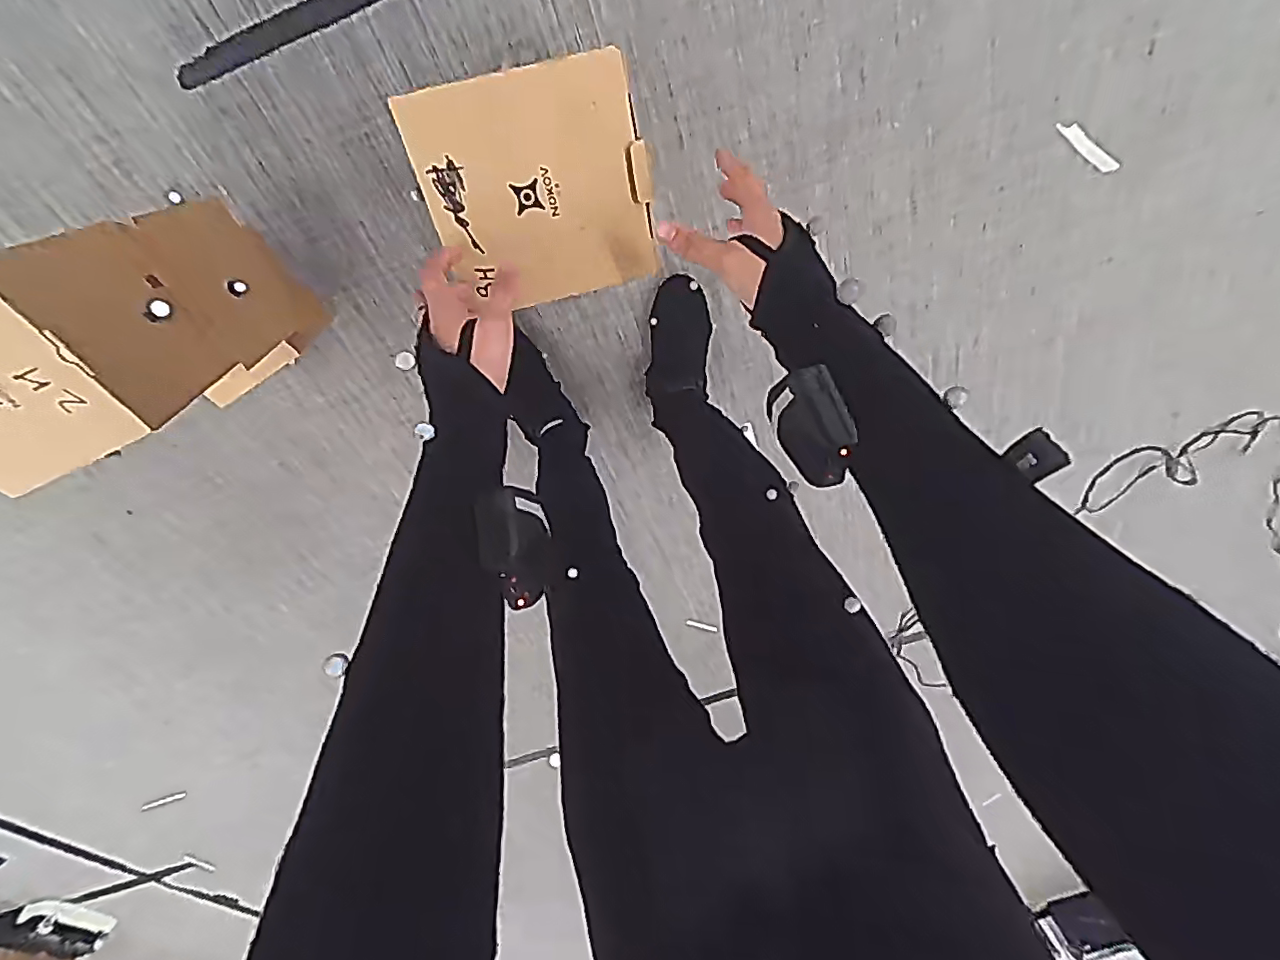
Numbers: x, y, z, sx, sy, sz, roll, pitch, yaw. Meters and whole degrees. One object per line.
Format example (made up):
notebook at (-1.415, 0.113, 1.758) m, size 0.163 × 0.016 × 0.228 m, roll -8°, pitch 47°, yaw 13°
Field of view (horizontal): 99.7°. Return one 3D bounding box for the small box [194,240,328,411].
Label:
small box at (-0.624, -0.243, 0.822) m, size 0.168 × 0.176 × 0.179 m, roll -29°, pitch 125°, yaw 11°

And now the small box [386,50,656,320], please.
small box at (-0.097, -0.268, 0.493) m, size 0.179 × 0.176 × 0.168 m, roll -14°, pitch 124°, yaw -2°

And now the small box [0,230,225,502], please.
small box at (-0.563, -0.114, 0.520) m, size 0.179 × 0.176 × 0.168 m, roll -22°, pitch 125°, yaw 7°

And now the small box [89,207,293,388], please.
small box at (-0.571, -0.212, 0.652) m, size 0.168 × 0.176 × 0.179 m, roll -16°, pitch 126°, yaw 3°
